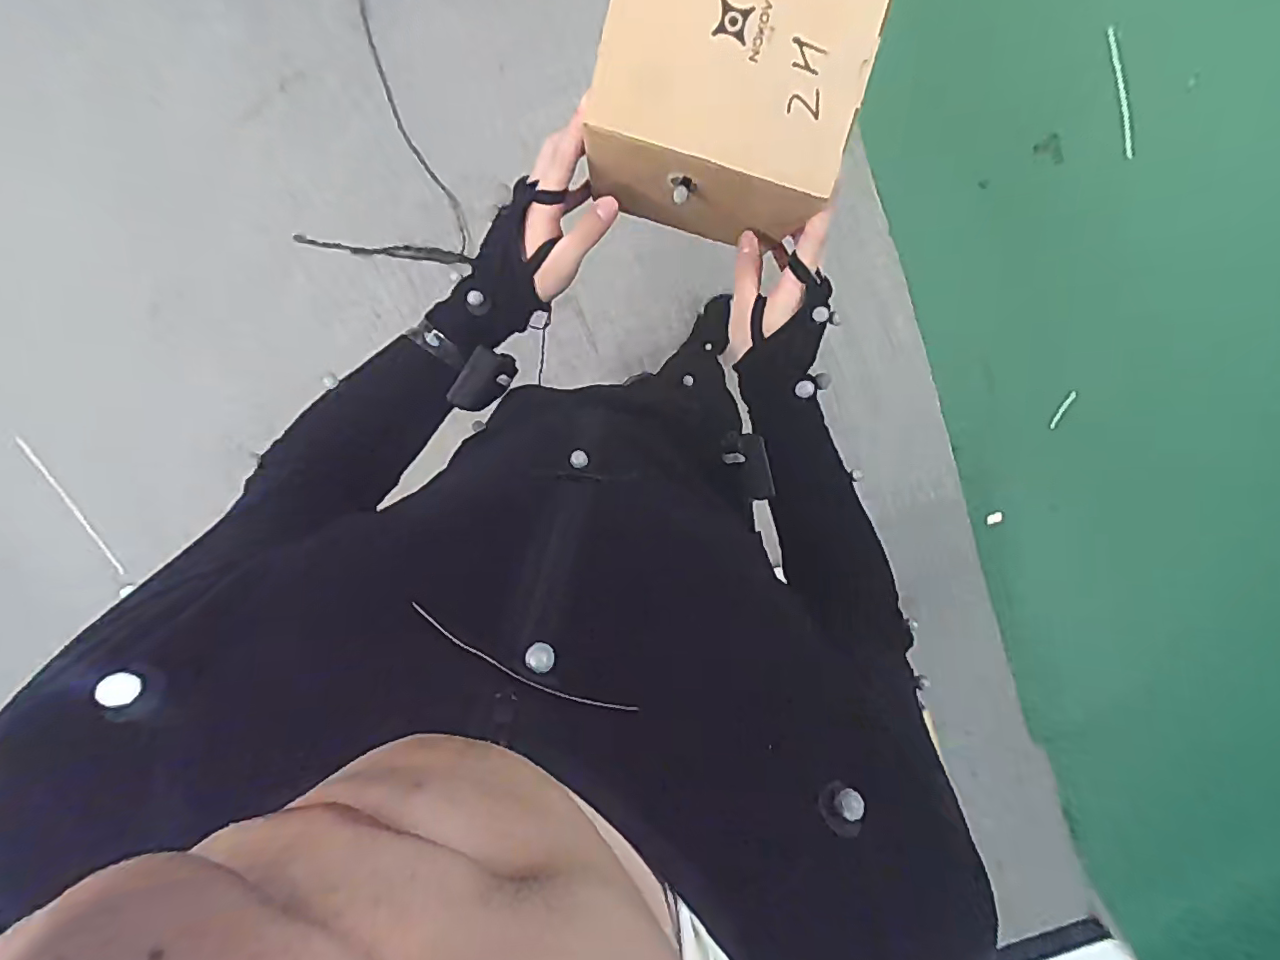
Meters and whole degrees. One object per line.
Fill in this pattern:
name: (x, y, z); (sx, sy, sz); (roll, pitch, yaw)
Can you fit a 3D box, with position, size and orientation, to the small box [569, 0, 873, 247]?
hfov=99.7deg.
small box: (0.055, -0.304, 0.429); (0.179, 0.176, 0.168); (14, 100, -4)
